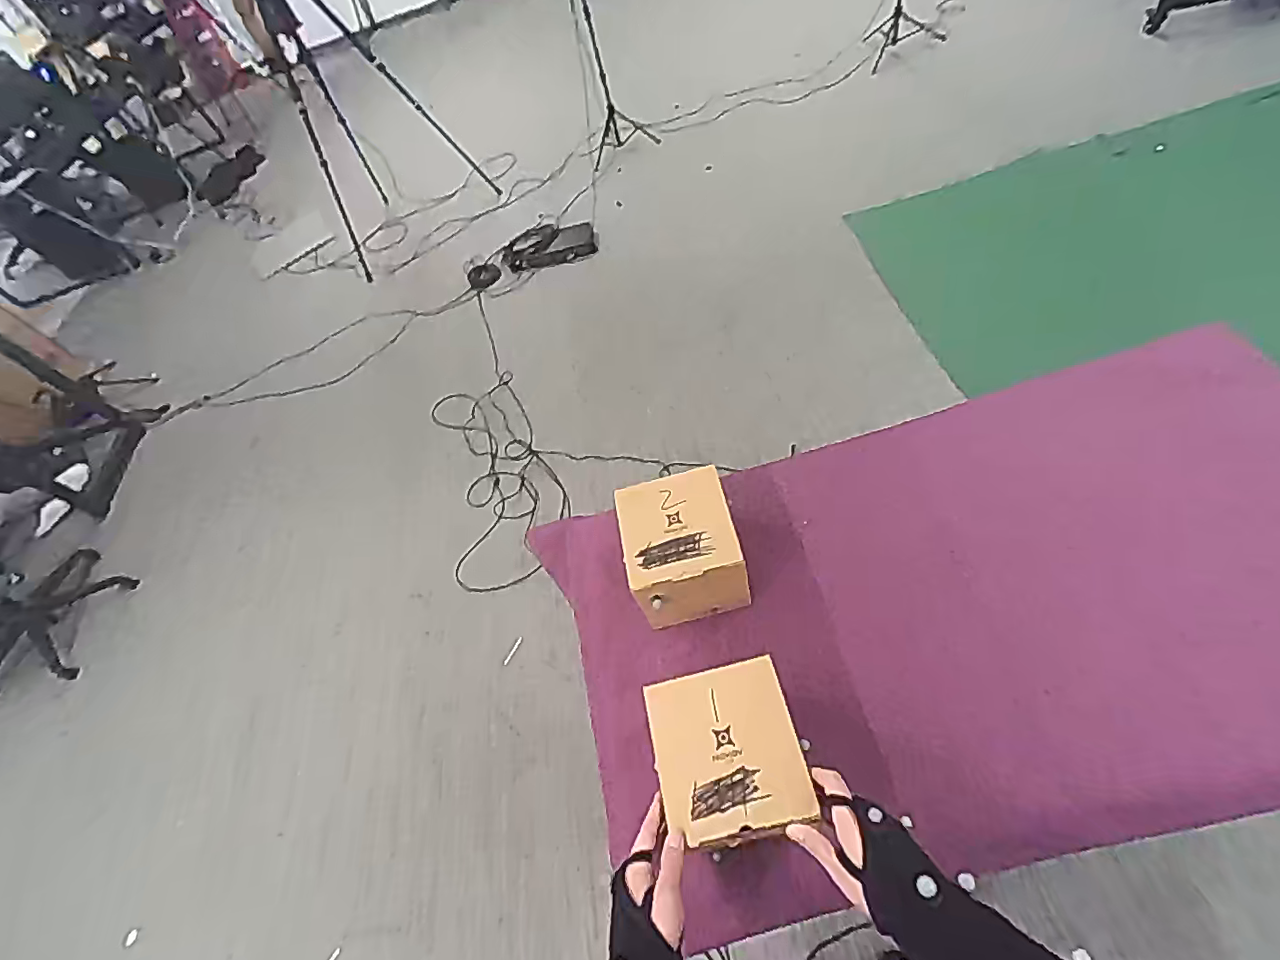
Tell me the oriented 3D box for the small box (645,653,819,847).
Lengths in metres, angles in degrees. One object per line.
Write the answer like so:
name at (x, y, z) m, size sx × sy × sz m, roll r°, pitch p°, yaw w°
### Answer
small box at (0.116, 0.344, 0.682) m, size 0.168 × 0.176 × 0.179 m, roll -16°, pitch 53°, yaw 4°
